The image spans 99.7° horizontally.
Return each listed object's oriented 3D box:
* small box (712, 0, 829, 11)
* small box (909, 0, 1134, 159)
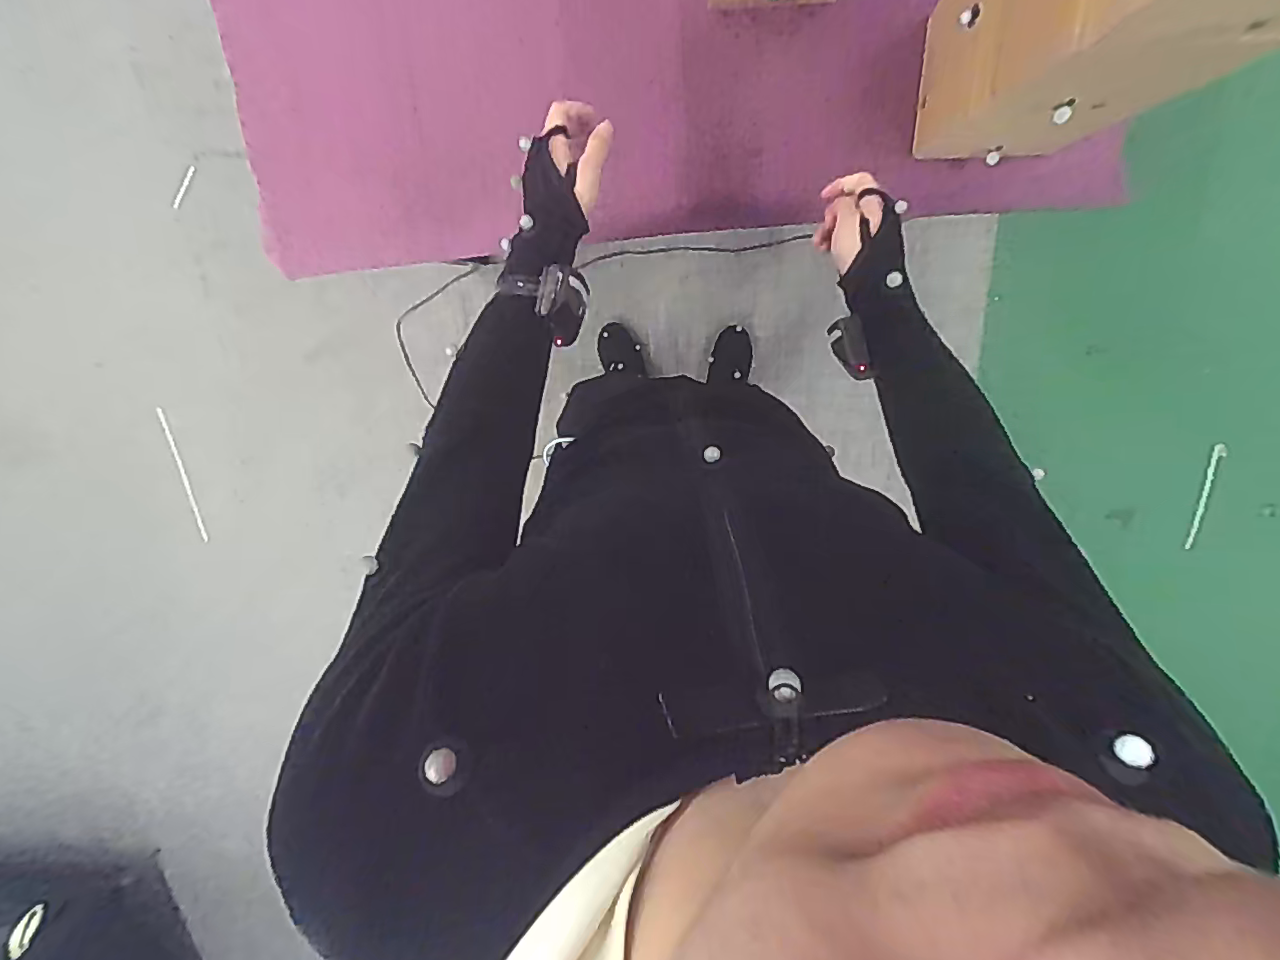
[{"bbox_3d":[0.159,-0.667,0.595,0.168,0.176,0.179,2,108,6],"label":"small box"},{"bbox_3d":[0.441,-0.485,0.624,0.179,0.176,0.168,2,107,6],"label":"small box"}]
